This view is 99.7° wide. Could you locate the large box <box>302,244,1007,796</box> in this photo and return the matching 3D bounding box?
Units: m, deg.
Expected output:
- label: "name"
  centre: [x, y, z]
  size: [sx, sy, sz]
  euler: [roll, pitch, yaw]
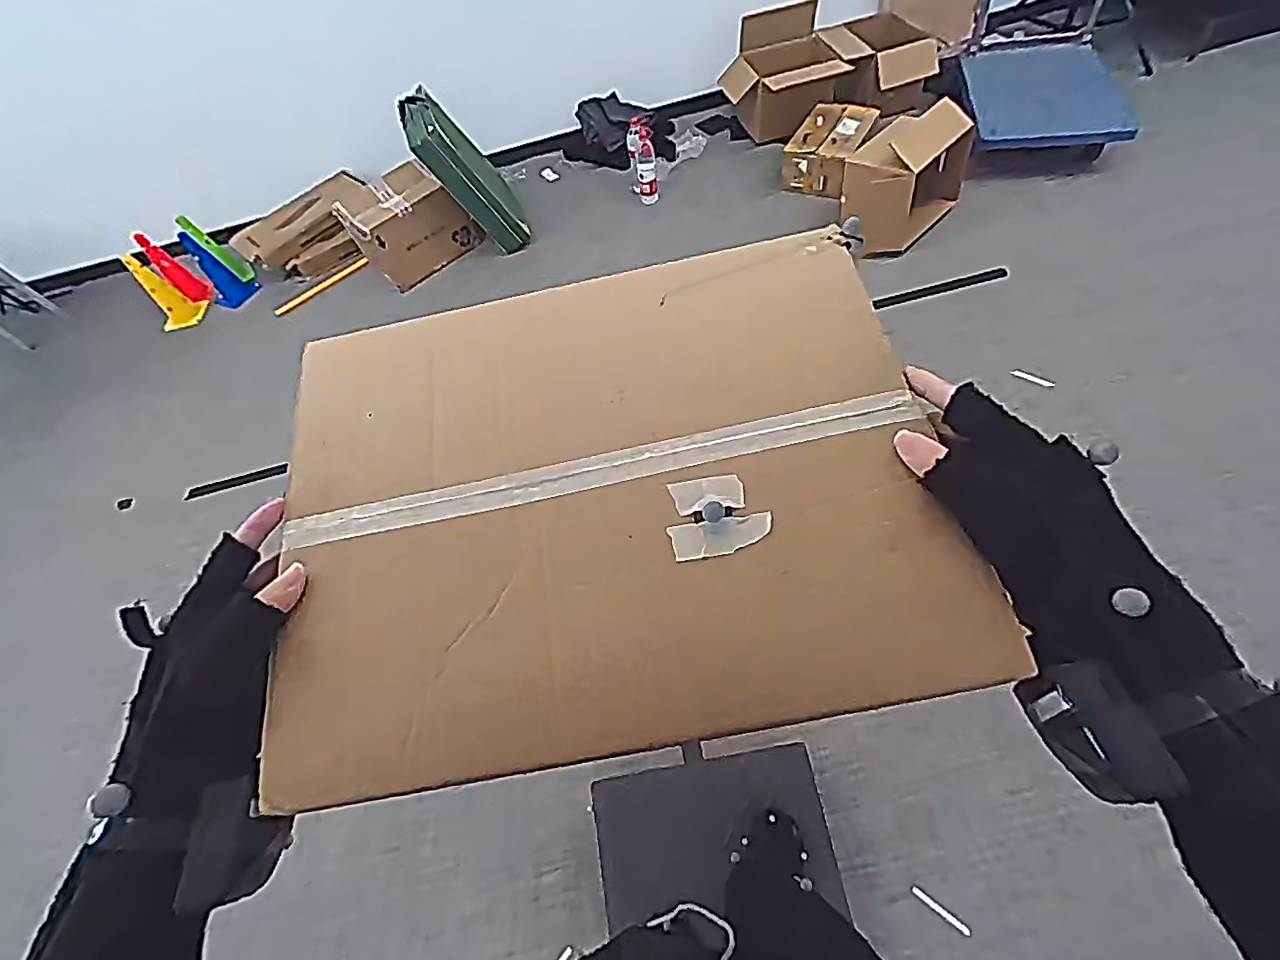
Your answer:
- label: "large box"
  centre: [-0.006, 0.056, 0.489]
  size: [0.408, 0.320, 0.320]
  euler: [-12, 67, 2]
